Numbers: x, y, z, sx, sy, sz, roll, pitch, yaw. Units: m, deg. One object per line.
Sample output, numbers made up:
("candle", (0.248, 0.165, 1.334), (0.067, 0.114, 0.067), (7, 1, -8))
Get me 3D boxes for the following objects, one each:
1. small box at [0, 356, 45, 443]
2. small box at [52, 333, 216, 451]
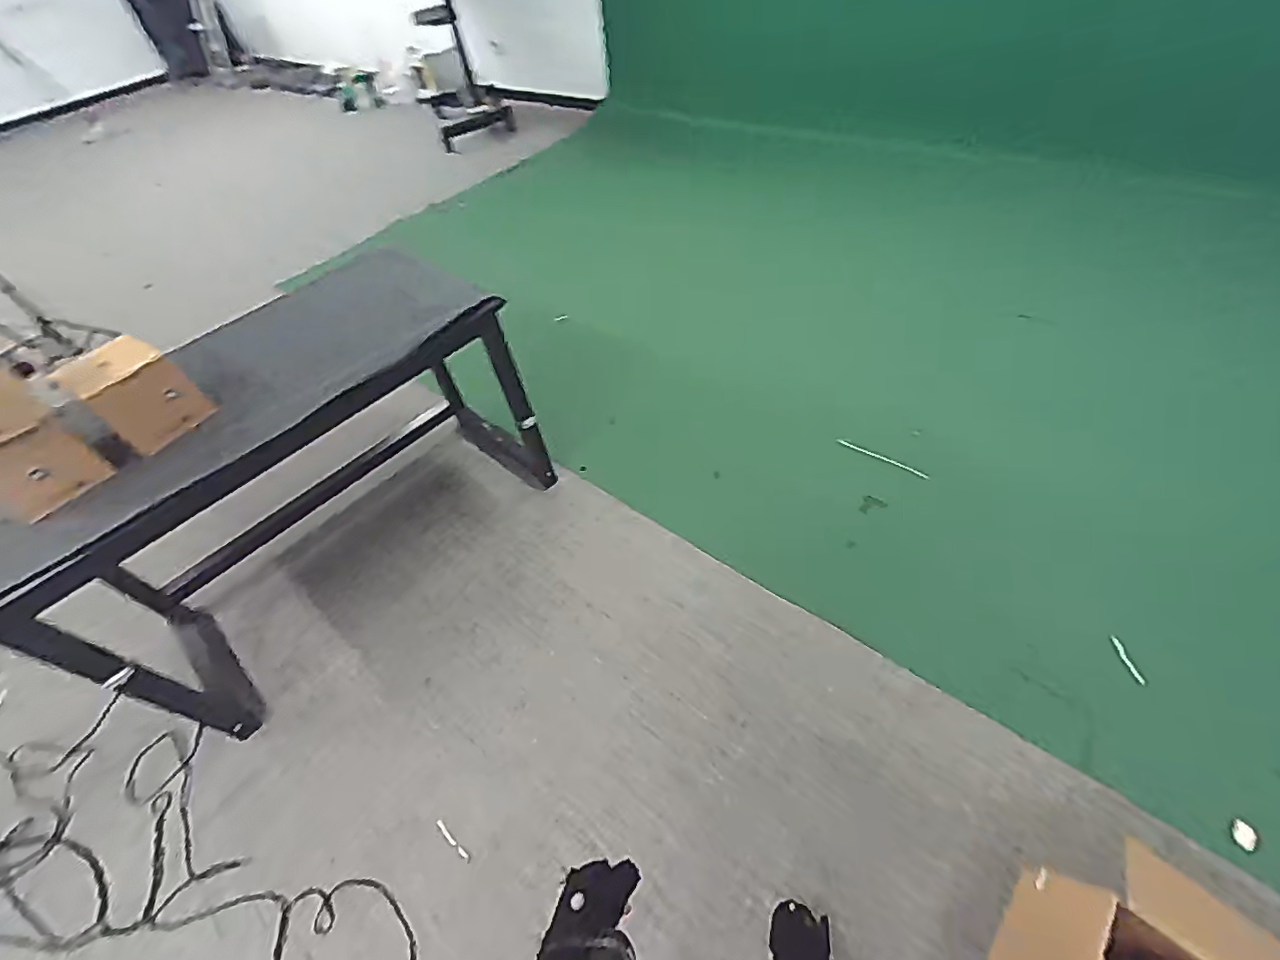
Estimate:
("small box", (-1.220, -0.155, 0.949), (0.179, 0.176, 0.168), (35, 62, 30))
("small box", (-1.085, -0.187, 1.176), (0.179, 0.176, 0.168), (22, 55, 25))
